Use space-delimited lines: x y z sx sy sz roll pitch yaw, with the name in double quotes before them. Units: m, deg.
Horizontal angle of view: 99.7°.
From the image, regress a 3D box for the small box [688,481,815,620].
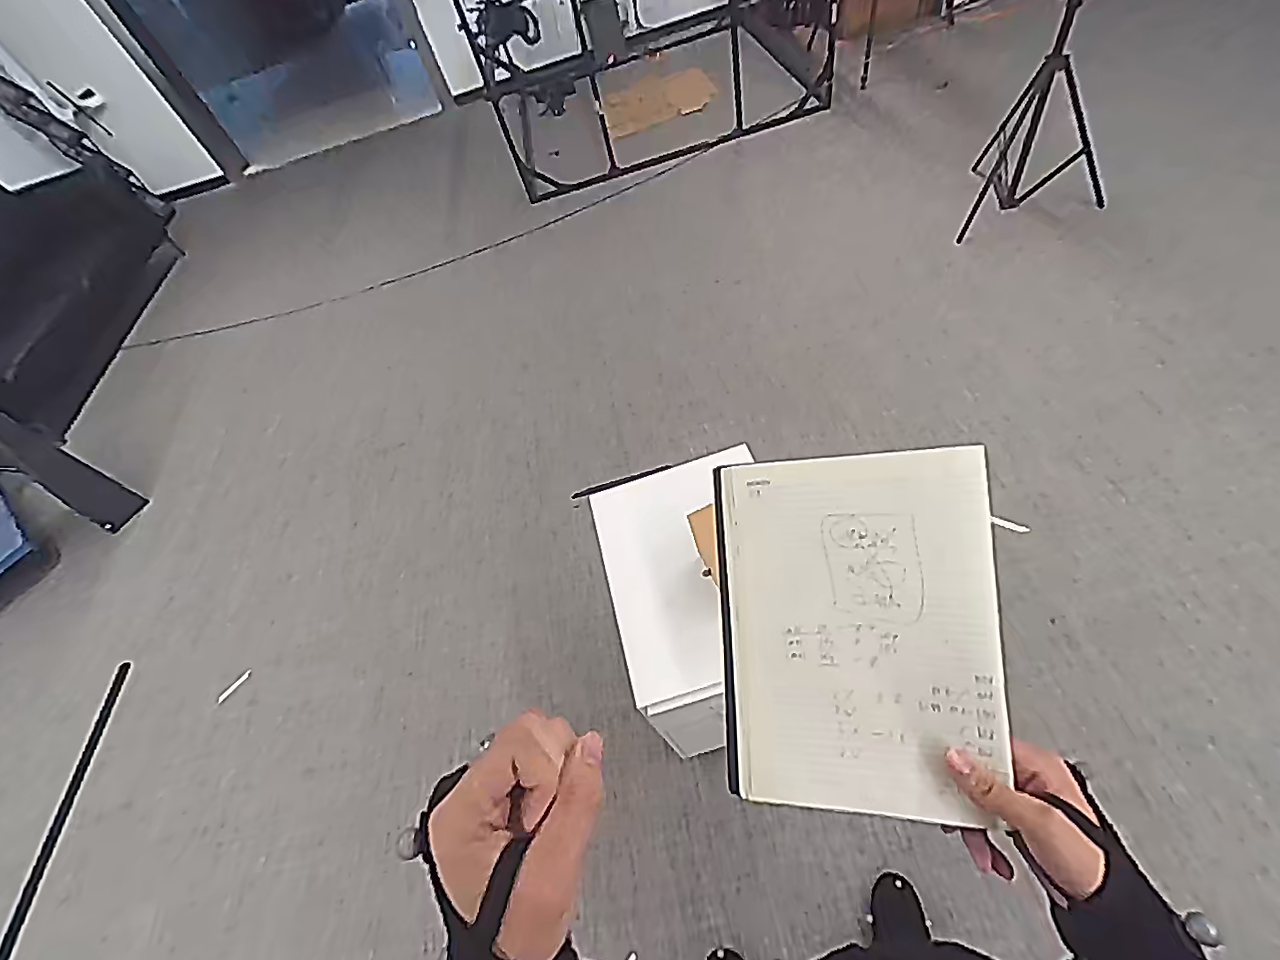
"small box" 0.212 0.139 1.038 0.179 0.176 0.168 -26 52 -3
